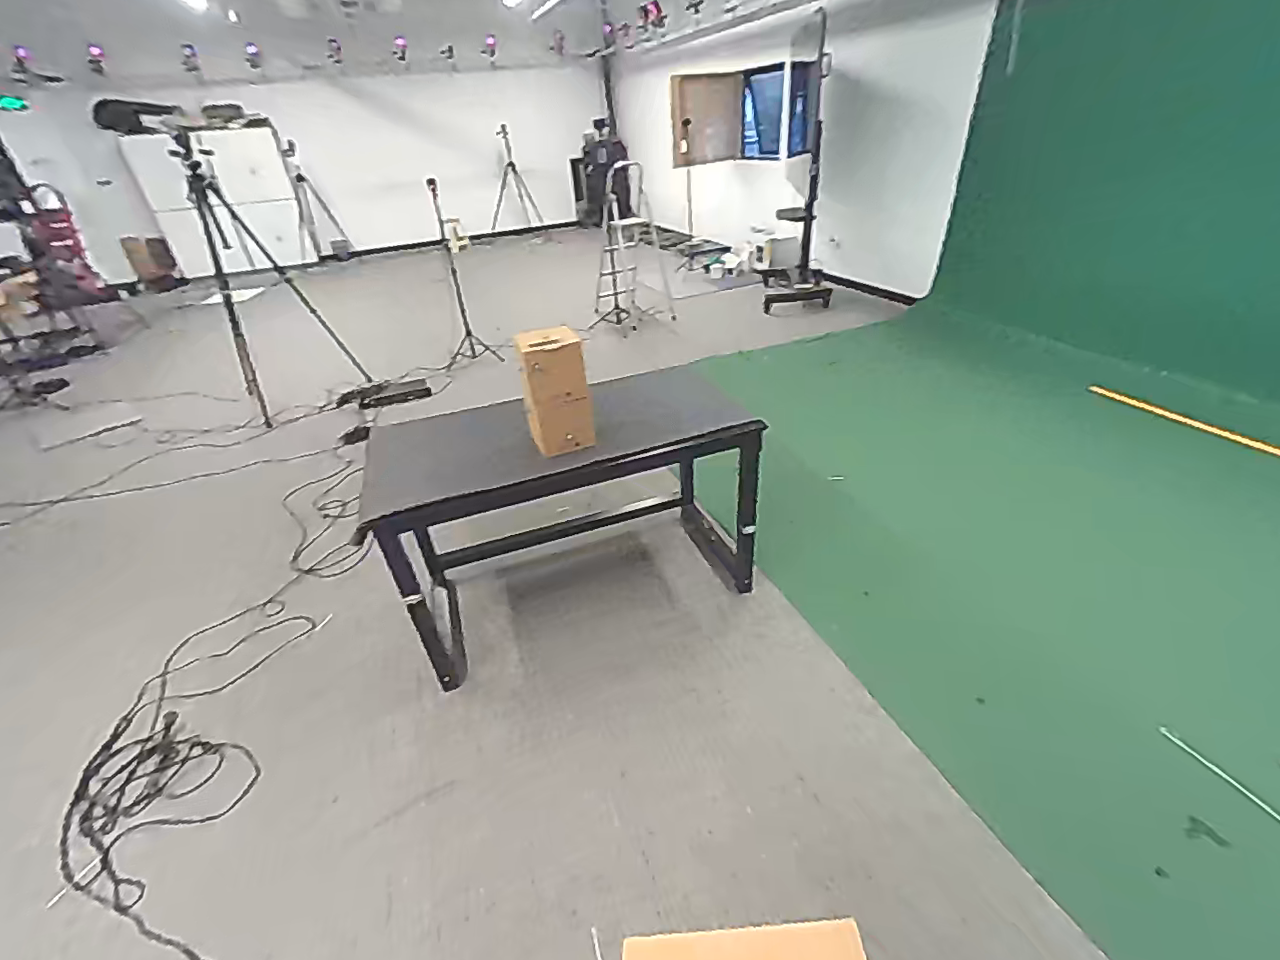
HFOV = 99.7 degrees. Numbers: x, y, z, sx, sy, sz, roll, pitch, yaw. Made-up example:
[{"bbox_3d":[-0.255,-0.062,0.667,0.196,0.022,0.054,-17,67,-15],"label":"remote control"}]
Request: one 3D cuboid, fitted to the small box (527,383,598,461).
[{"bbox_3d":[-0.240,-0.180,1.667,0.168,0.176,0.179,-16,33,-17],"label":"small box"}]
